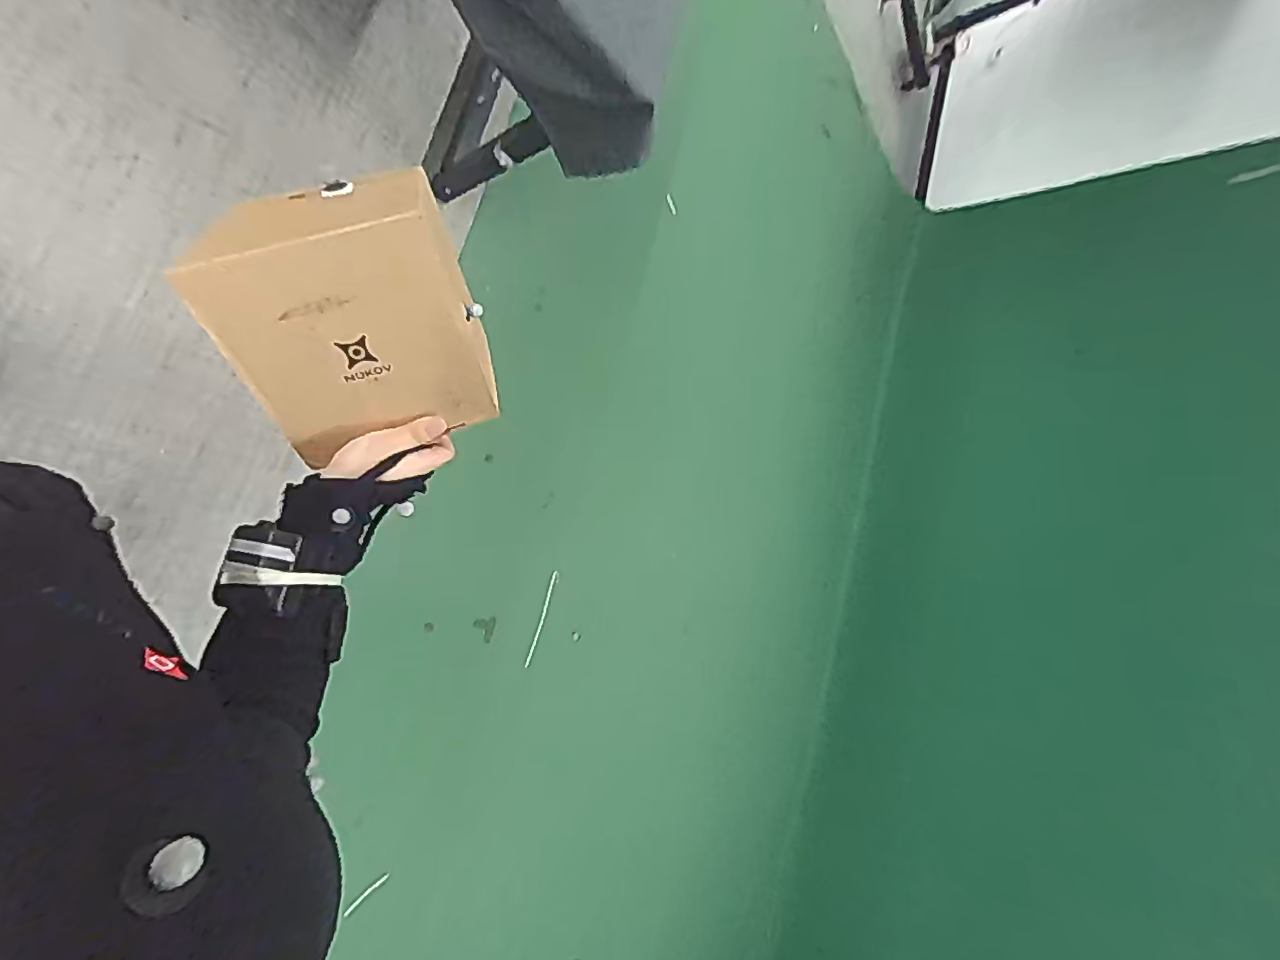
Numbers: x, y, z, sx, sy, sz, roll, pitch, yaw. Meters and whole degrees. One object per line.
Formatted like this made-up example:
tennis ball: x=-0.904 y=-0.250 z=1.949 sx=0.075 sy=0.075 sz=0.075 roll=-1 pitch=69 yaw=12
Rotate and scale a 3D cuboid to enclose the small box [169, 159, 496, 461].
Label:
small box: x=-0.237 y=-0.151 z=0.469 sx=0.168 sy=0.176 sz=0.179 roll=-19 pitch=133 yaw=-8
